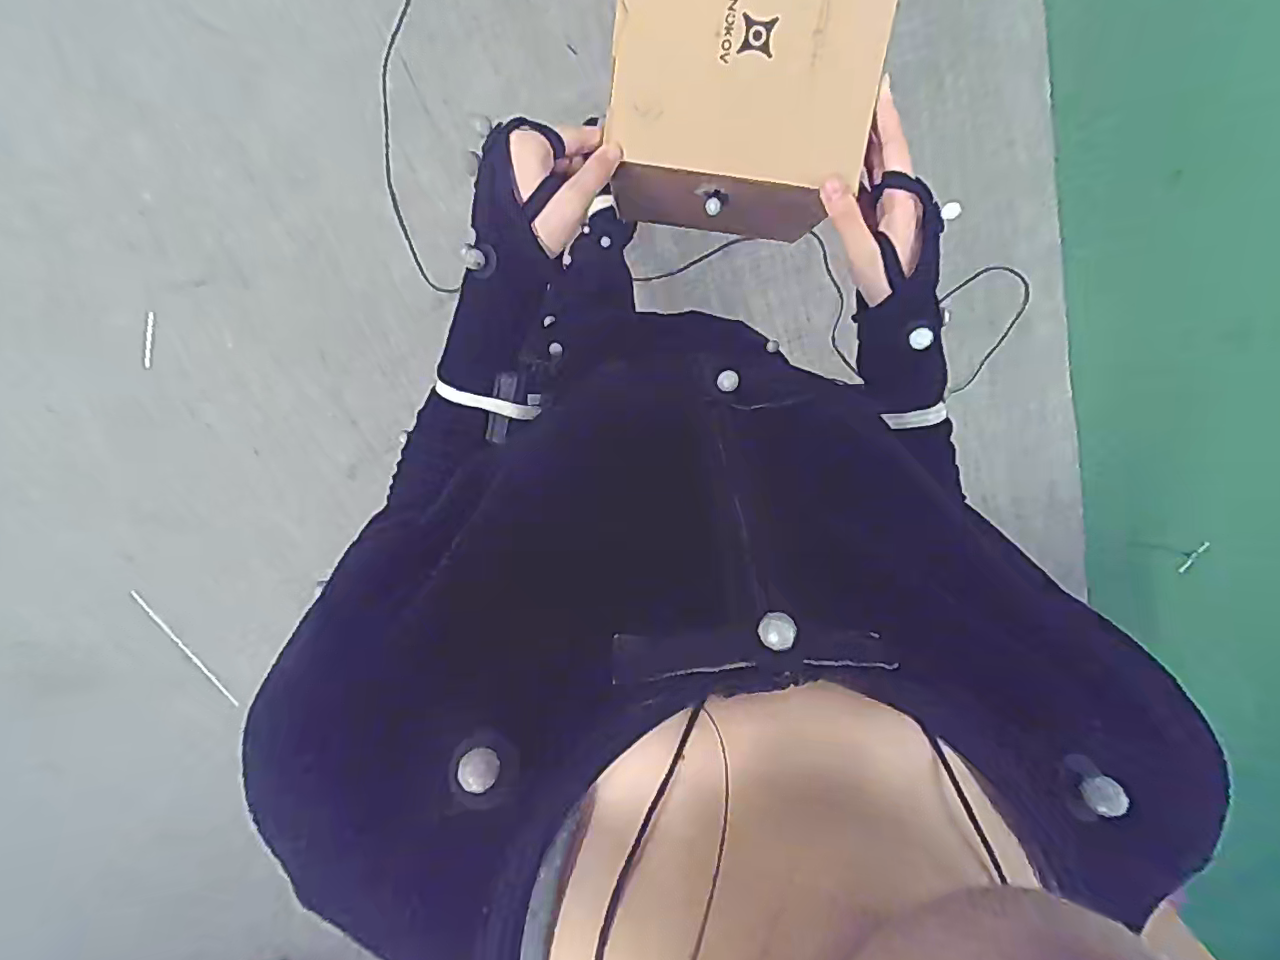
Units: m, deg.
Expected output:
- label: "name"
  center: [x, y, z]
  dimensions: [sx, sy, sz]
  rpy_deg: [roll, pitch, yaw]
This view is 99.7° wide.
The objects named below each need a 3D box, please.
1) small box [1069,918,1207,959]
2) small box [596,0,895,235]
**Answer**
- label: "small box"
  center: [0.838, 0.852, 0.878]
  dimensions: [0.168, 0.176, 0.179]
  rpy_deg: [-13, 111, 2]
- label: "small box"
  center: [0.070, -0.303, 0.417]
  dimensions: [0.179, 0.176, 0.168]
  rpy_deg: [9, 103, -2]
